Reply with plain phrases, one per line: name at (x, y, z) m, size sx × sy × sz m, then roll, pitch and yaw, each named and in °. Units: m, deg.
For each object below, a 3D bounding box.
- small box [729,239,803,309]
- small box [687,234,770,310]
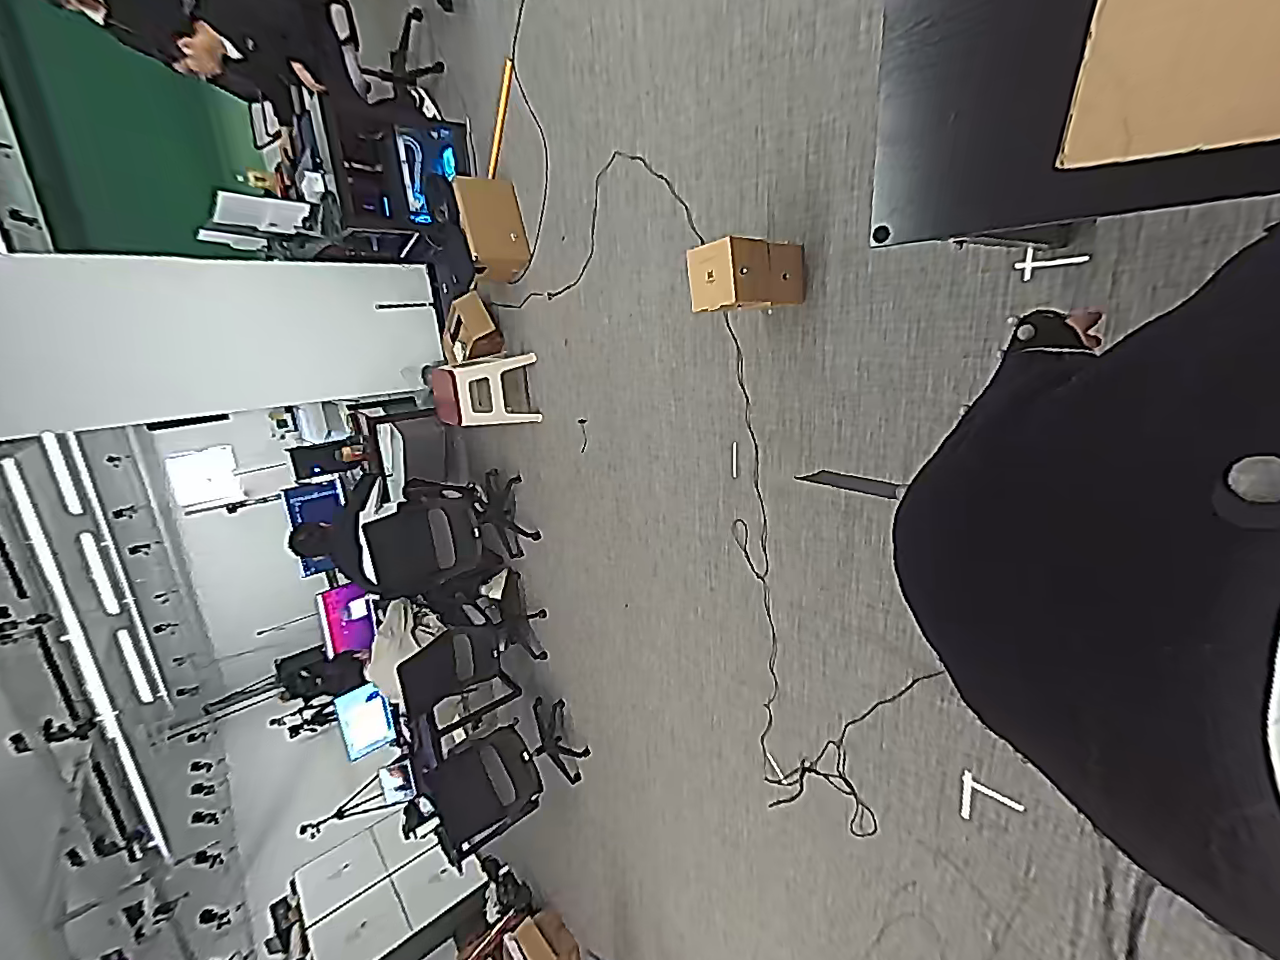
small box at (0.384, -0.626, 1.658) m, size 0.168 × 0.176 × 0.179 m, roll 11°, pitch 112°, yaw 49°
small box at (0.259, -0.595, 1.559) m, size 0.168 × 0.176 × 0.179 m, roll 6°, pitch 106°, yaw 49°
